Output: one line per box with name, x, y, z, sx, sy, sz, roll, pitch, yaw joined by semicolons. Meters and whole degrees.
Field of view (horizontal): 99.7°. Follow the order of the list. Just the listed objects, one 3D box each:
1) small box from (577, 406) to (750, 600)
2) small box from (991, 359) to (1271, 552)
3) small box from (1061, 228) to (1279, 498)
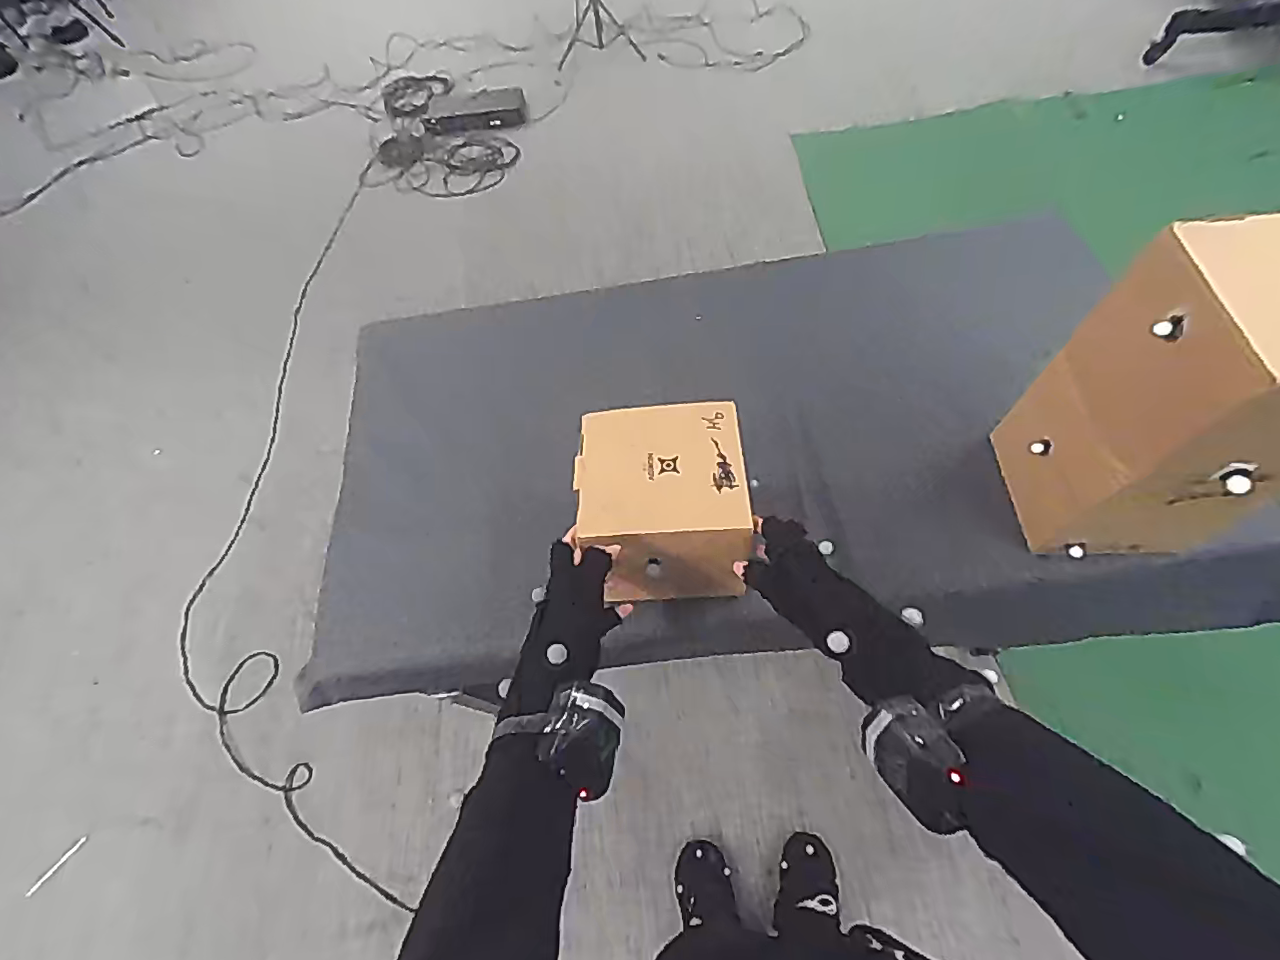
small box;0.034;0.035;0.643;0.179;0.176;0.168;-4;54;6
small box;0.548;-0.023;0.626;0.168;0.176;0.179;-2;59;6
small box;0.530;-0.099;0.485;0.168;0.176;0.179;-2;61;7
